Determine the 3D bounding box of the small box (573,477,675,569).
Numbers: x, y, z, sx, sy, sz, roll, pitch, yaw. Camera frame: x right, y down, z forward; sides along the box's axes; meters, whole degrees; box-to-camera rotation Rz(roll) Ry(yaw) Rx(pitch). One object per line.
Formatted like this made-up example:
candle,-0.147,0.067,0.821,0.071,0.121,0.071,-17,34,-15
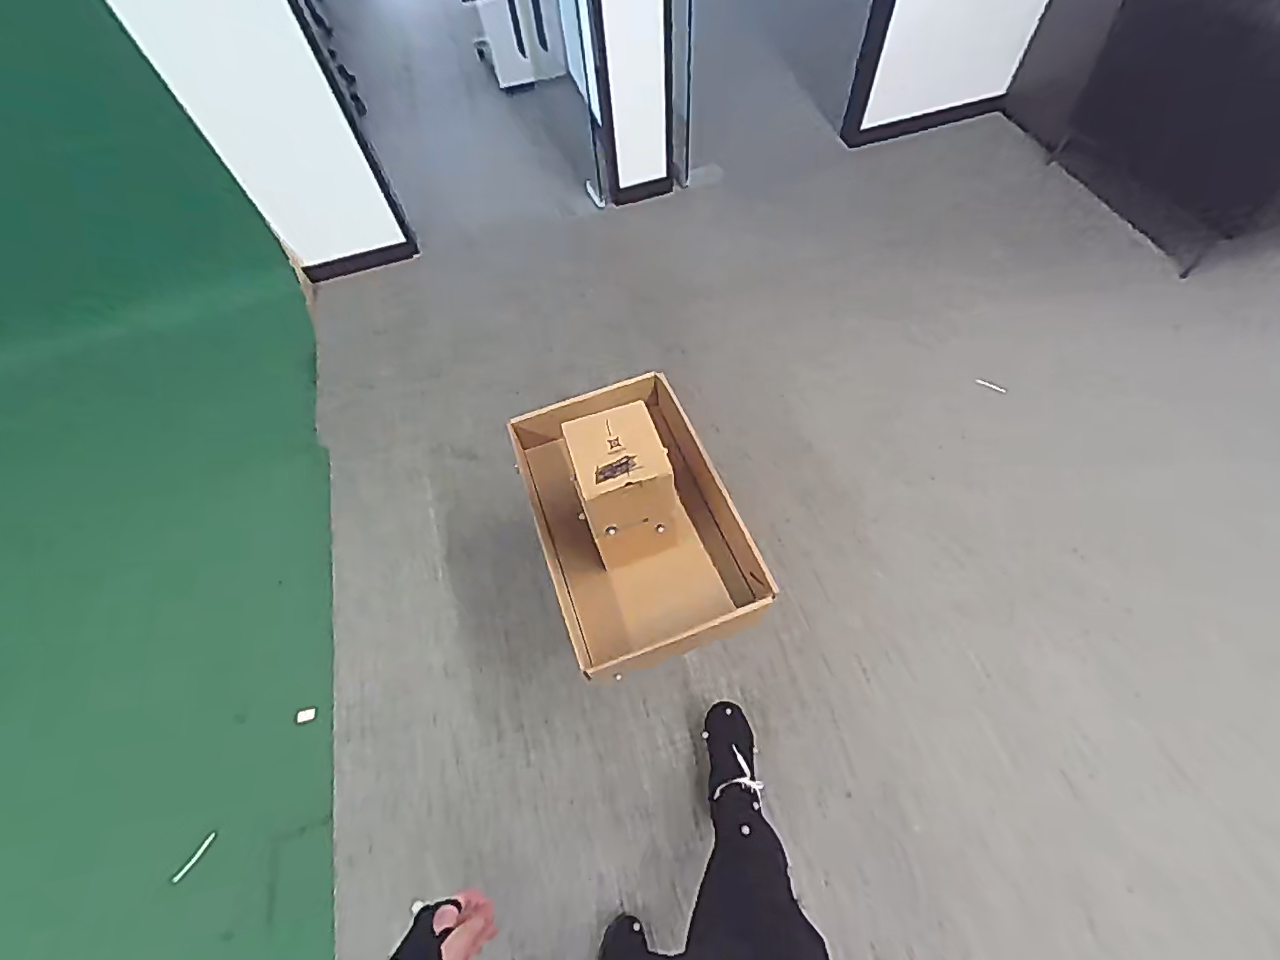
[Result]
small box,-0.030,0.072,1.178,0.179,0.176,0.168,-19,60,-7

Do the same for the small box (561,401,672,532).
small box,-0.040,-0.017,1.040,0.168,0.176,0.179,-17,59,-6
